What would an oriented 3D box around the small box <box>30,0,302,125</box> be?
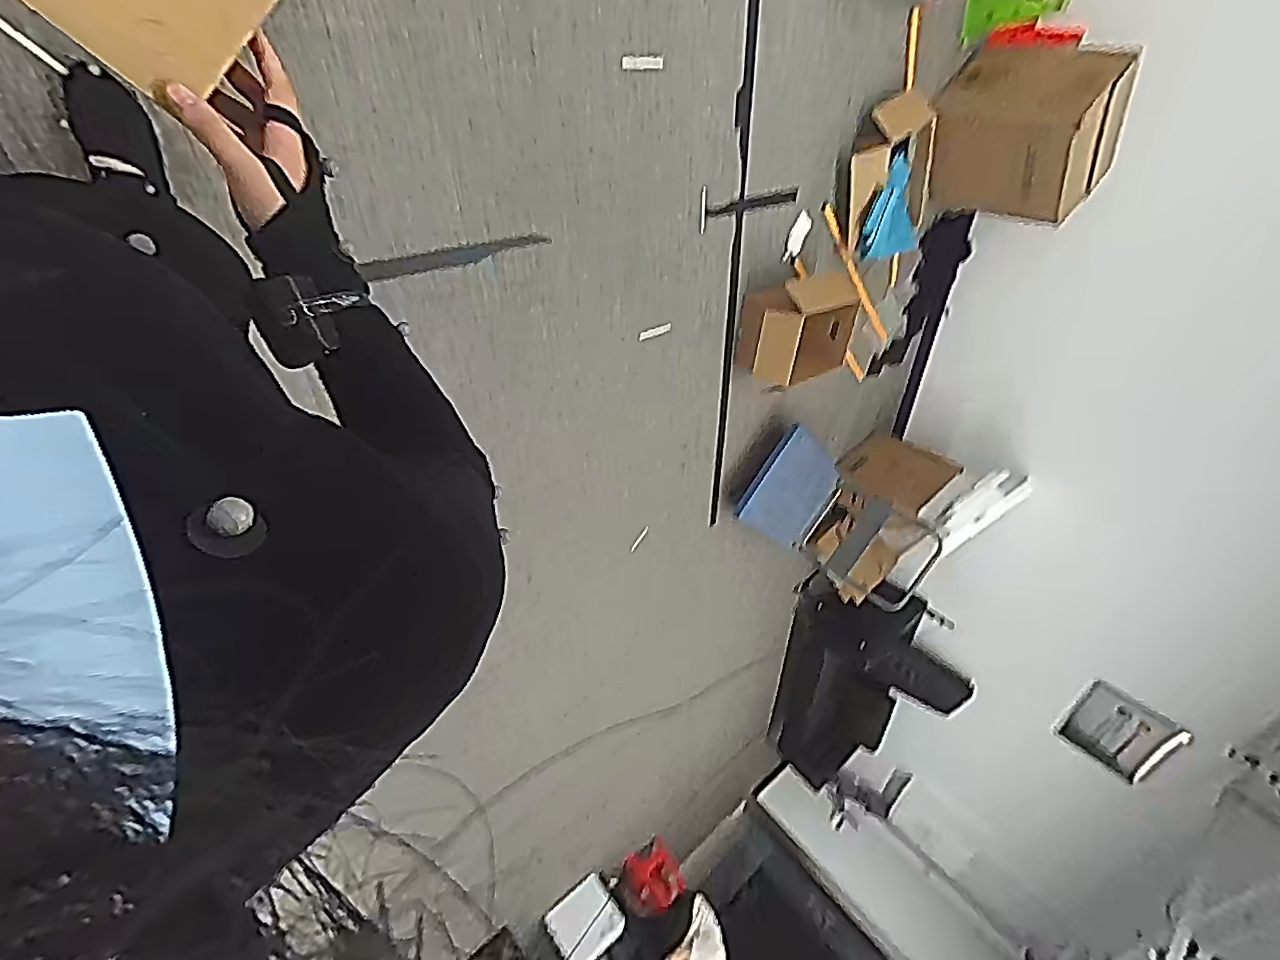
[{"bbox_3d":[-0.343,-0.382,0.352,0.179,0.176,0.168,-52,149,1],"label":"small box"}]
